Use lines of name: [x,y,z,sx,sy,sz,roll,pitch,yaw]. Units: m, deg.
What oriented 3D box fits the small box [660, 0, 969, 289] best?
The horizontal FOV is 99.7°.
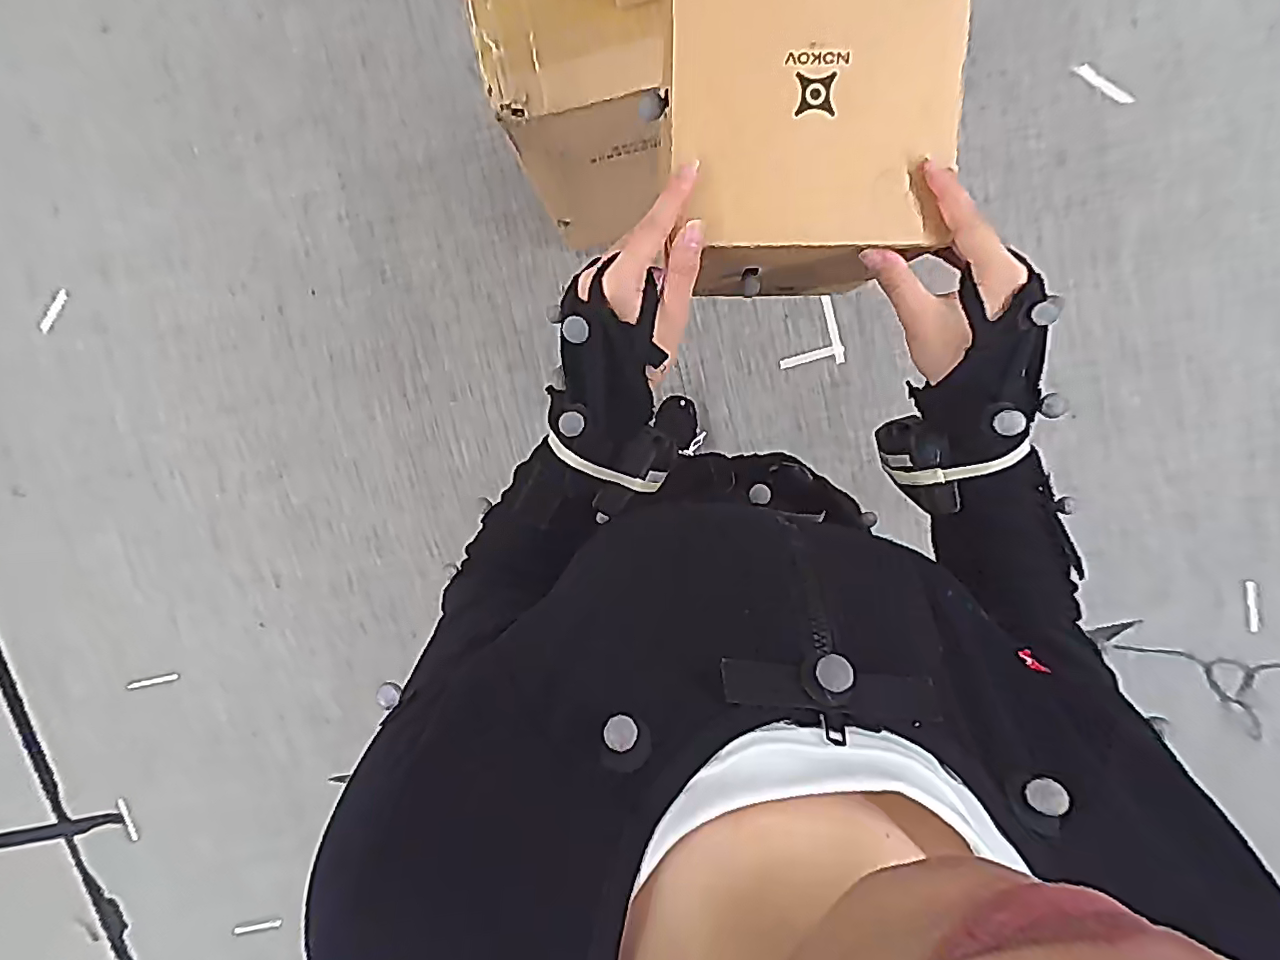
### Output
small box: [0.099,-0.238,0.380,0.168,0.176,0.179,0,97,1]
